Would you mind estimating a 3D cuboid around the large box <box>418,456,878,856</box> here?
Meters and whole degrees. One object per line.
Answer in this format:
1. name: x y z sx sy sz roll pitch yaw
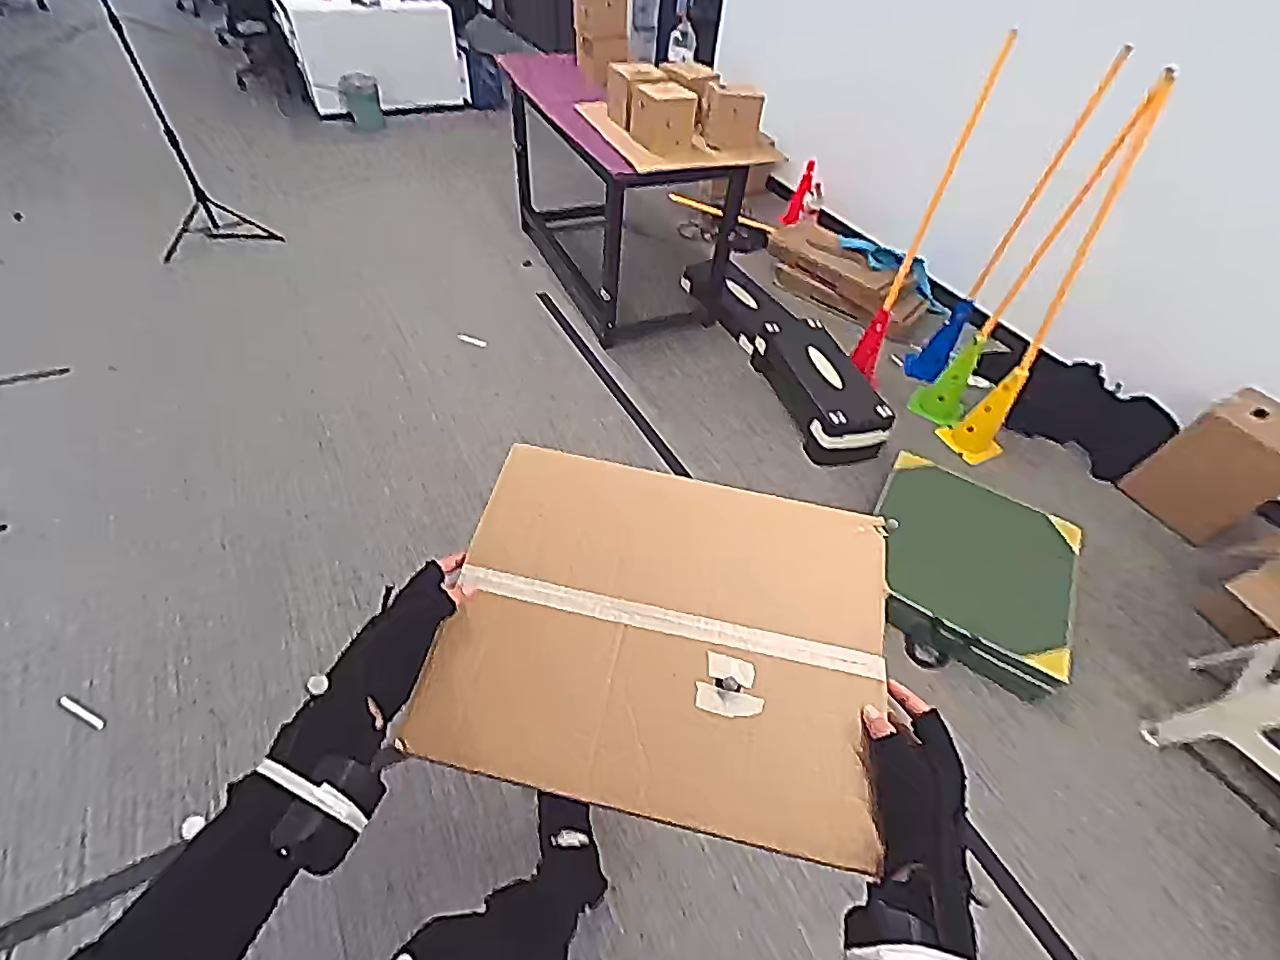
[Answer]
1. large box: 0.023 0.211 0.653 0.408 0.320 0.320 12 62 4
